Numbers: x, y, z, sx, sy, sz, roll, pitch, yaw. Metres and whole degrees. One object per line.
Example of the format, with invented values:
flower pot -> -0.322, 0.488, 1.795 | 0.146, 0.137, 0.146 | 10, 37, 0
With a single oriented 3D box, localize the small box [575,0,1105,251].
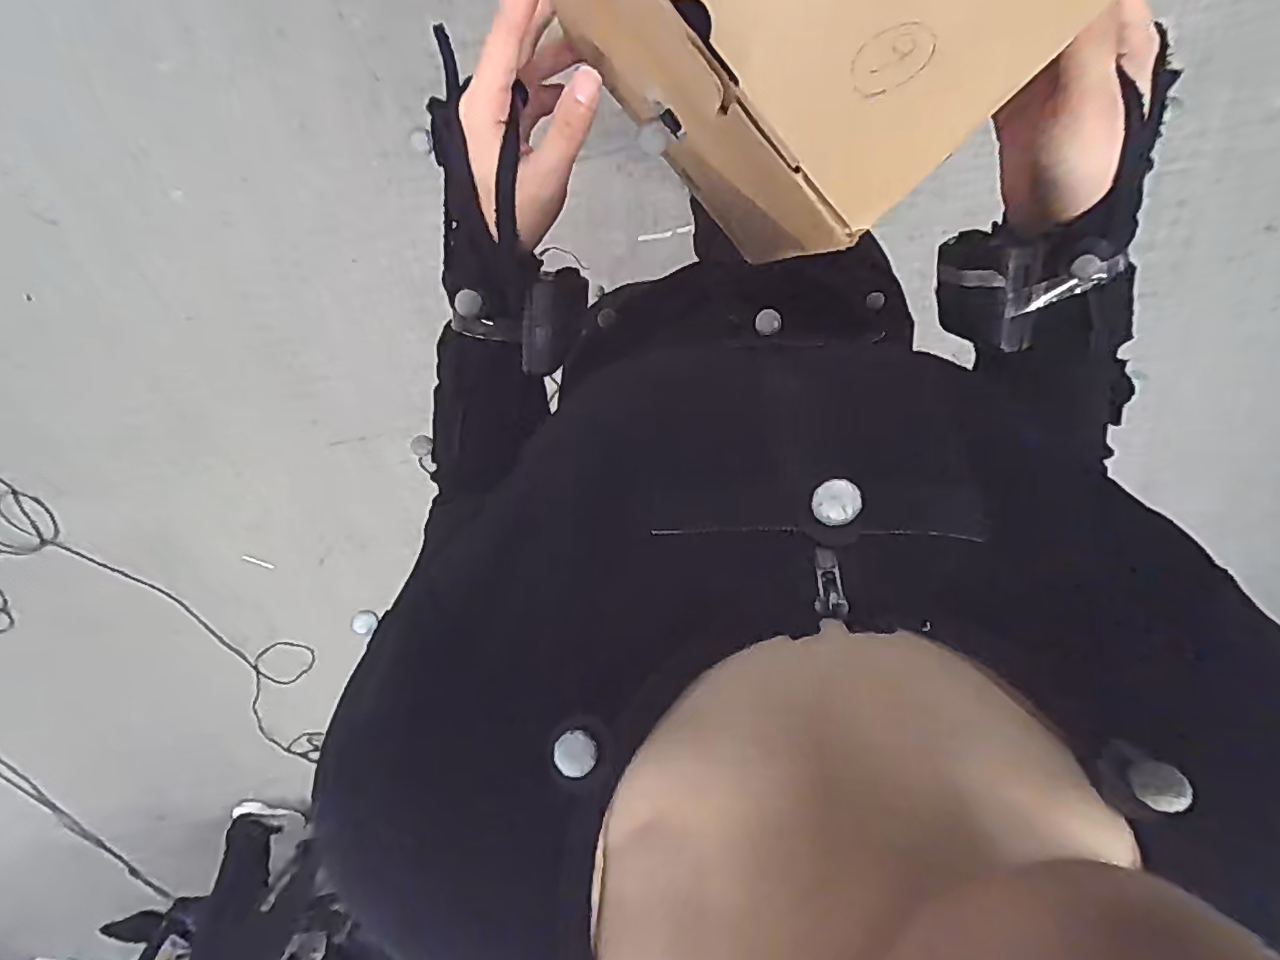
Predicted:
small box -> 0.079, -0.221, 0.228 | 0.179, 0.176, 0.168 | -42, 104, 14
